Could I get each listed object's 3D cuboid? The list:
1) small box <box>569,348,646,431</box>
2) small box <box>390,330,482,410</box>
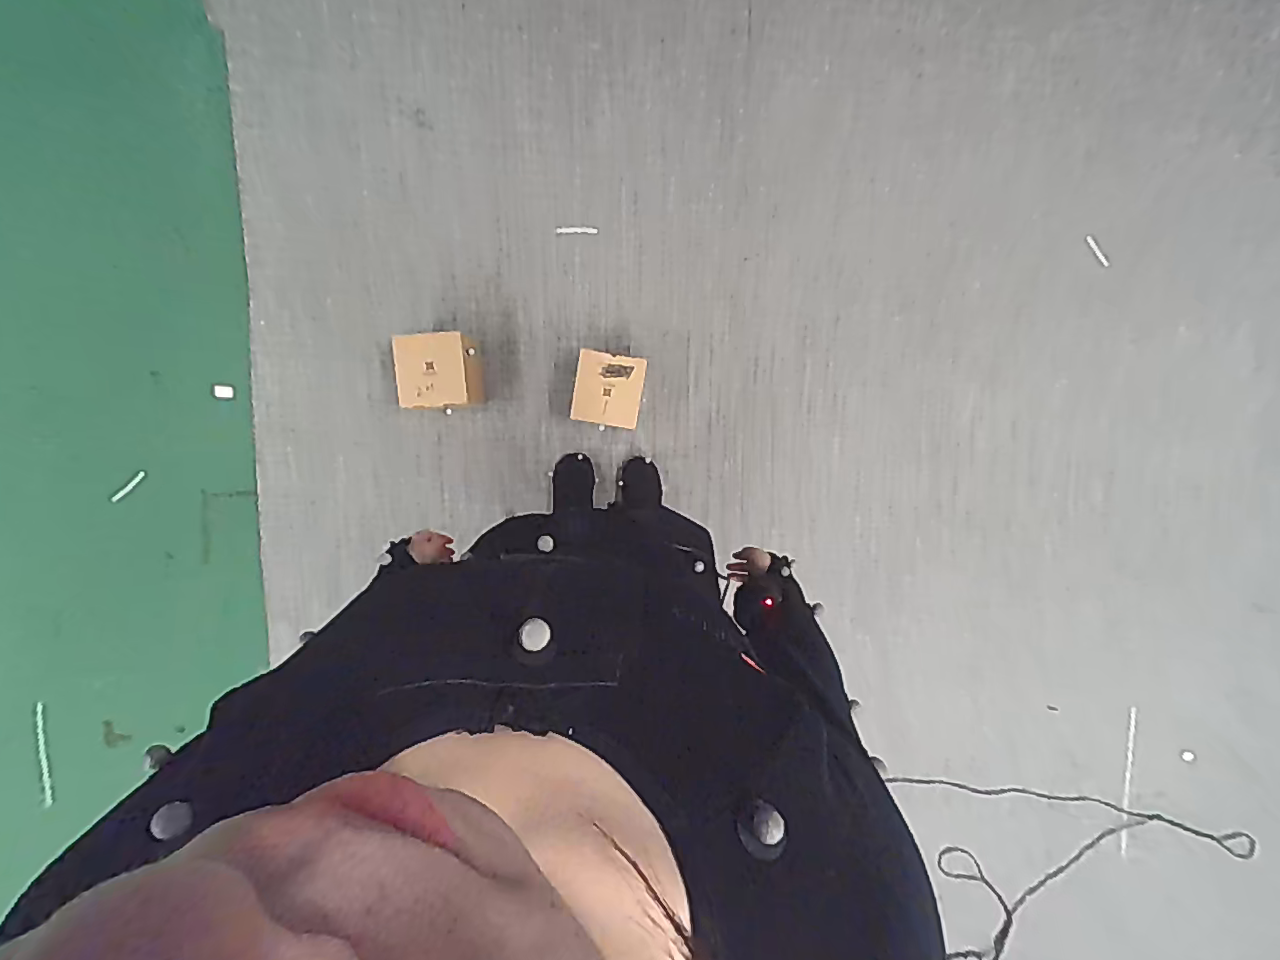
[{"bbox_3d":[-0.082,-0.226,1.383,0.168,0.176,0.179,10,96,-3],"label":"small box"},{"bbox_3d":[-0.508,-0.271,1.365,0.168,0.176,0.179,-4,96,-1],"label":"small box"}]
